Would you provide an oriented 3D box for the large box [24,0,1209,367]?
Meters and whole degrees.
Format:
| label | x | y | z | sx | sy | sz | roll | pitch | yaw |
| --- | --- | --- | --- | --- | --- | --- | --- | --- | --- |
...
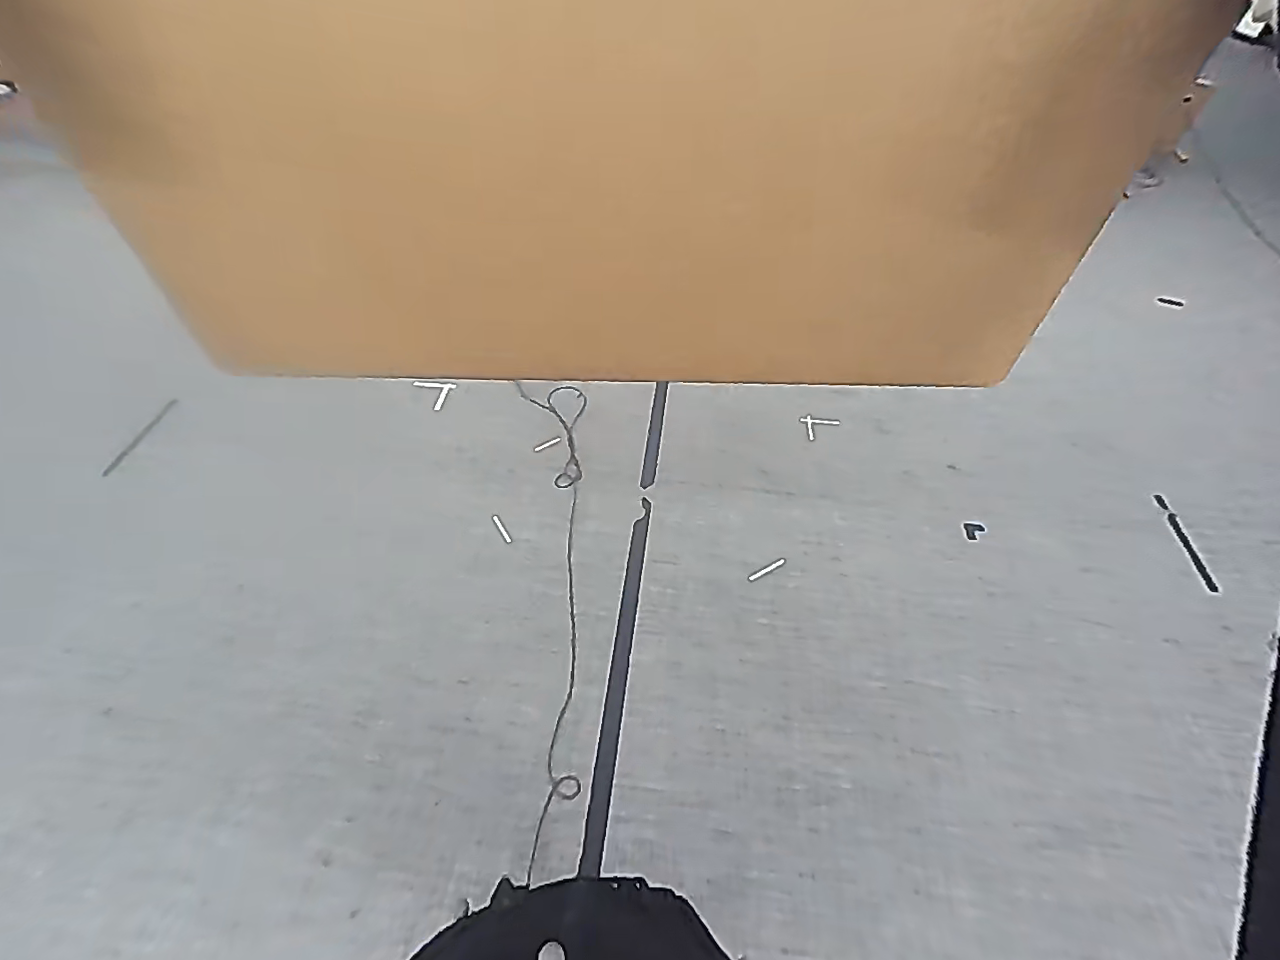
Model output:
| label | x | y | z | sx | sy | sz | roll | pitch | yaw |
| --- | --- | --- | --- | --- | --- | --- | --- | --- | --- |
| large box | -0.008 | -0.271 | 0.274 | 0.408 | 0.320 | 0.320 | 2 | 49 | -1 |
